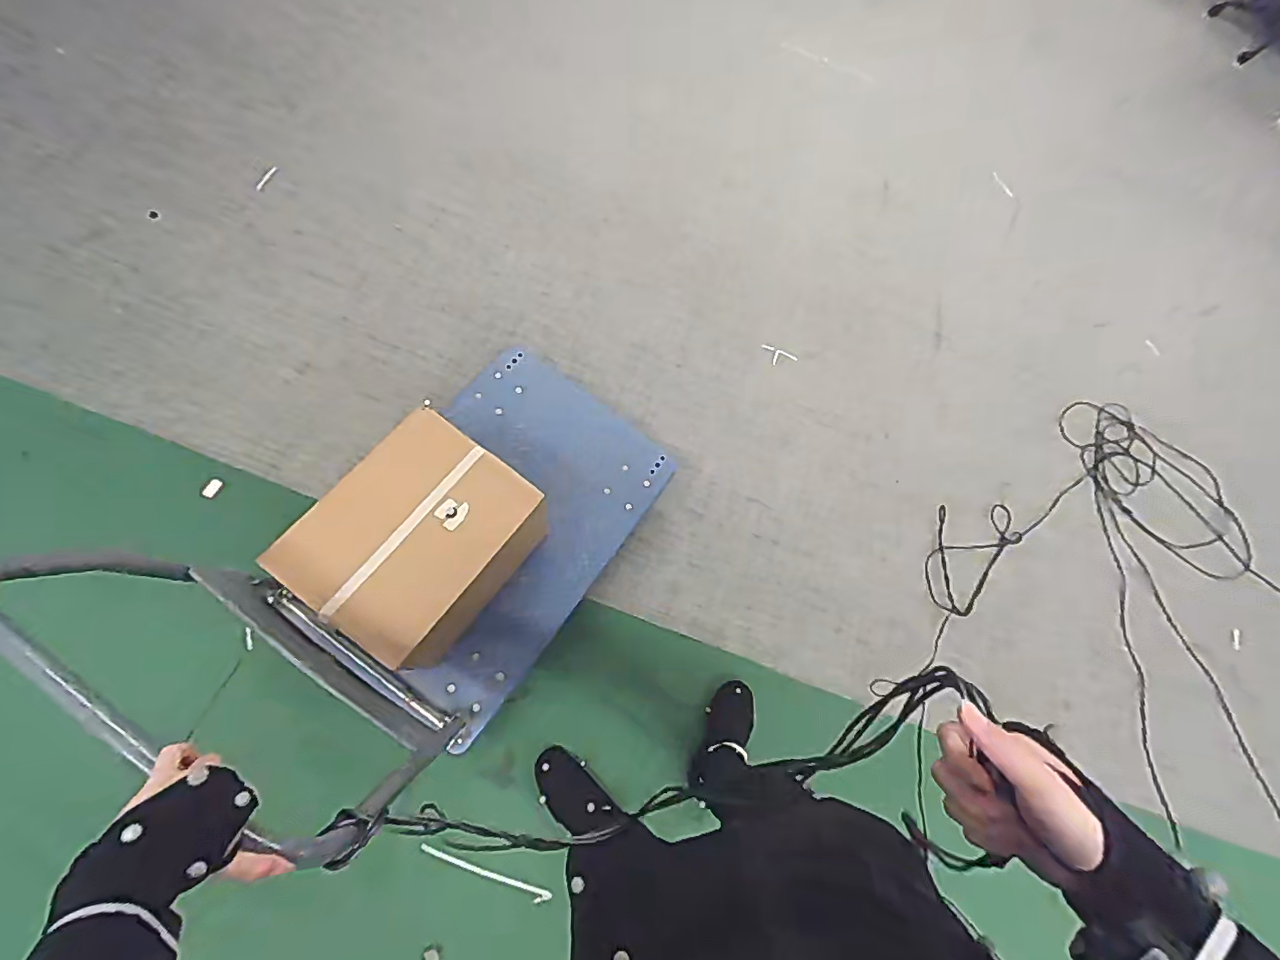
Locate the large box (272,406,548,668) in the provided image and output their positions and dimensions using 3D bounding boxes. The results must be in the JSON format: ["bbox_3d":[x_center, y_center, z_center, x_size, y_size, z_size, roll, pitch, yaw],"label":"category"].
[{"bbox_3d":[-0.436,0.135,1.136,0.320,0.320,0.408,36,69,4],"label":"large box"}]
